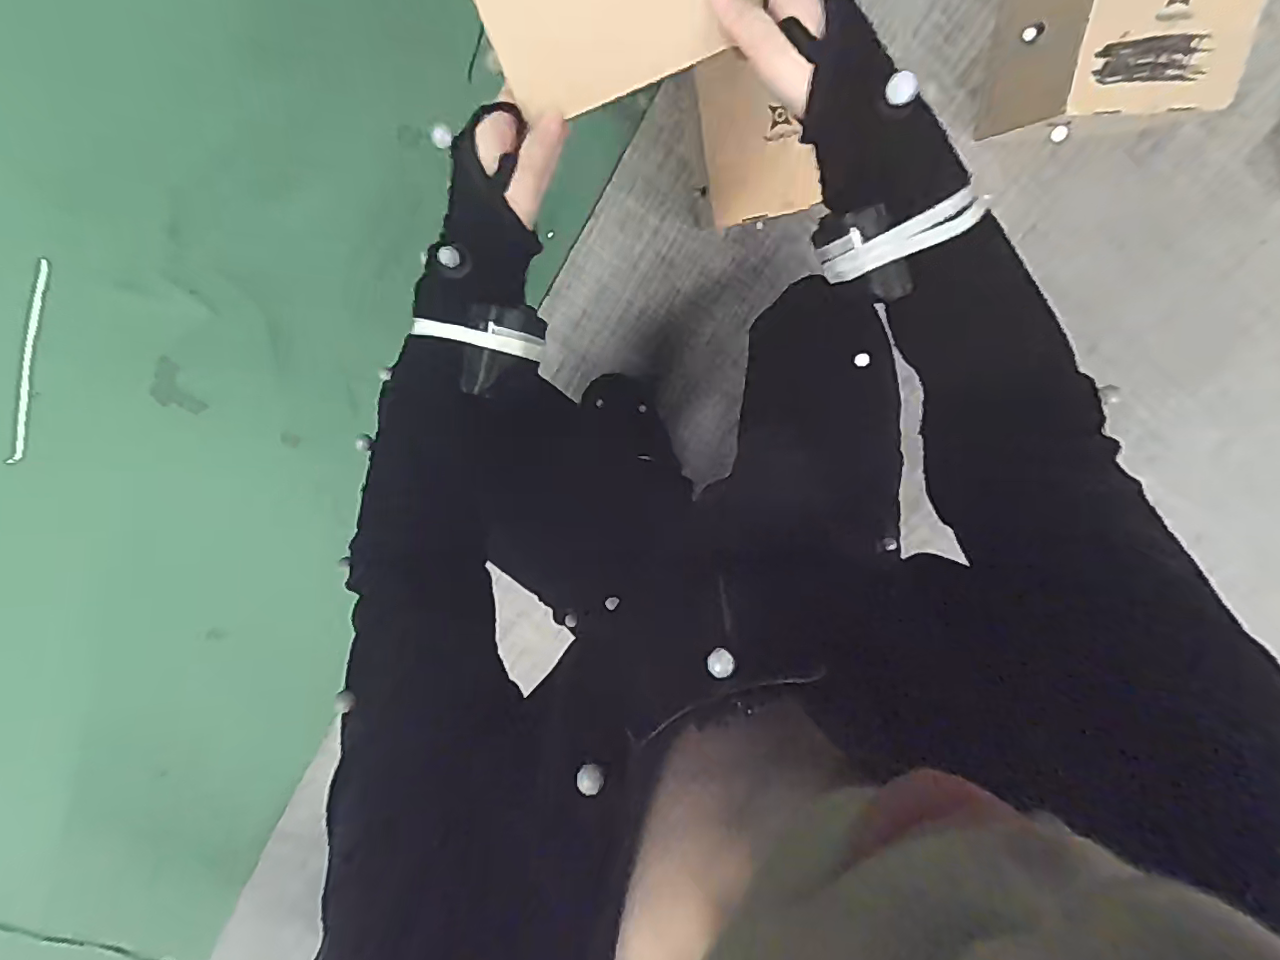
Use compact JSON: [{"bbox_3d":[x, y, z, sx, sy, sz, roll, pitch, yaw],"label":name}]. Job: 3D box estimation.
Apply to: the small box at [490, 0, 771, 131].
[{"bbox_3d":[-0.018,-0.374,0.369,0.168,0.176,0.179,-15,126,12],"label":"small box"}]
